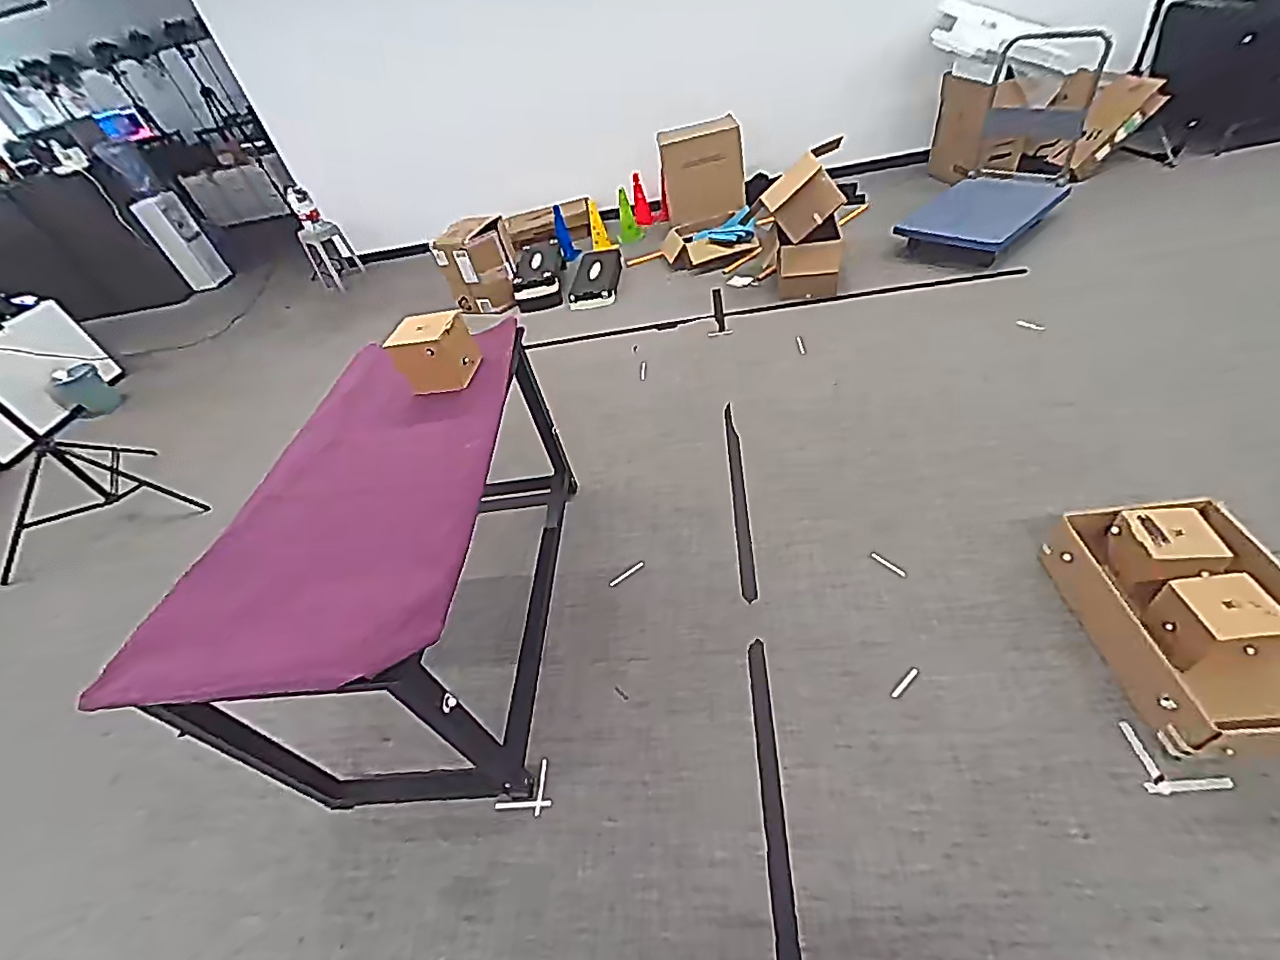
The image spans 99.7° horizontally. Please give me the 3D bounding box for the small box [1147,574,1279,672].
[{"bbox_3d":[1.394,0.351,1.312,0.179,0.176,0.168,-8,44,8],"label":"small box"}]

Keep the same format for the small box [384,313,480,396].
[{"bbox_3d":[-0.596,-0.360,1.571,0.179,0.176,0.168,-4,44,12],"label":"small box"}]
